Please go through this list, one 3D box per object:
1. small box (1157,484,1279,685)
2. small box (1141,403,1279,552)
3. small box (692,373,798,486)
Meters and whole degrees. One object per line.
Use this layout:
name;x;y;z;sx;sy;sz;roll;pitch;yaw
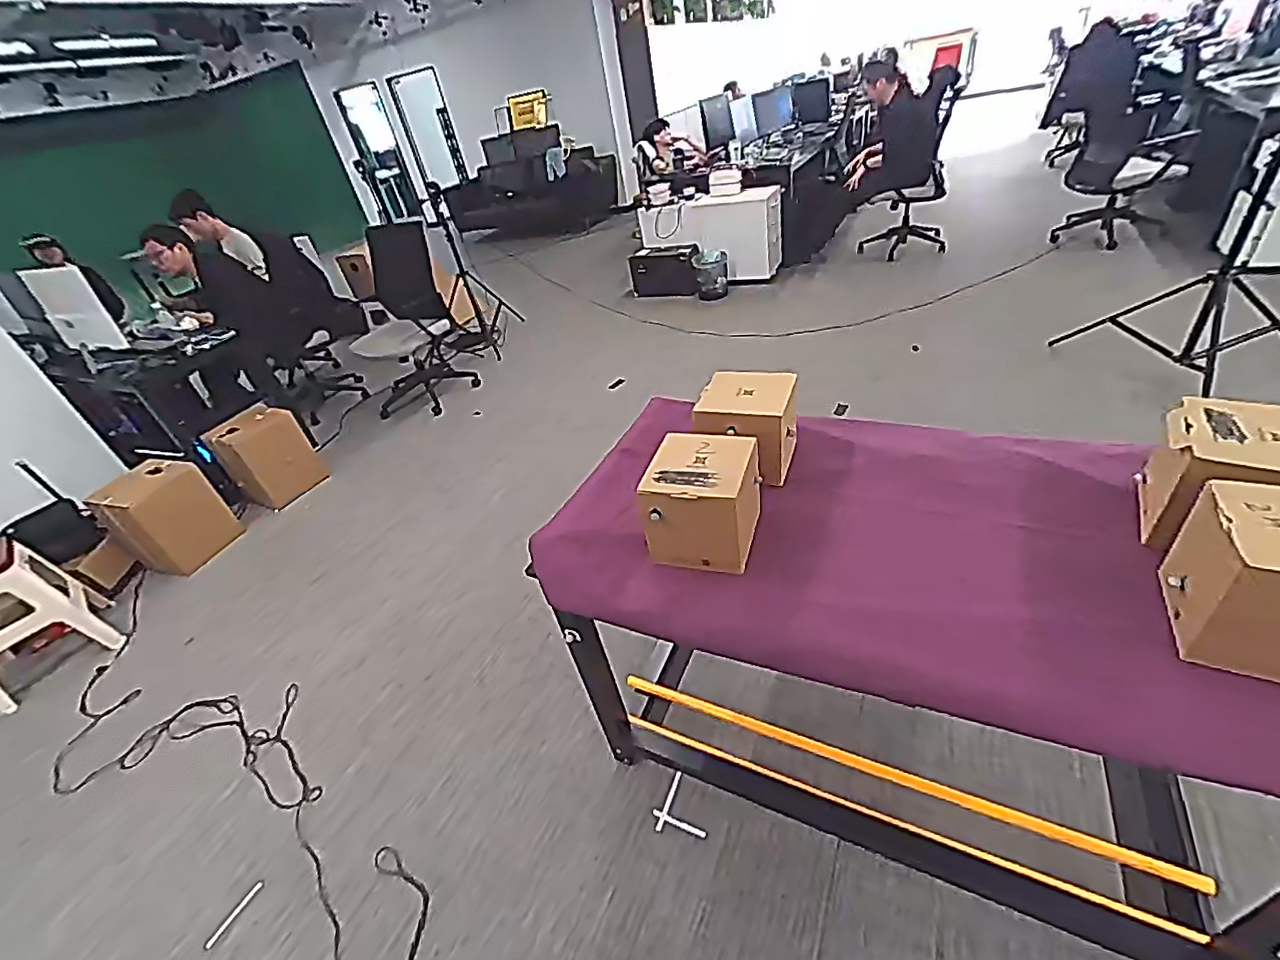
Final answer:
small box;0.769;0.130;0.641;0.179;0.176;0.168;10;40;28
small box;0.857;0.011;0.776;0.179;0.176;0.168;15;45;30
small box;0.223;-0.105;1.115;0.179;0.176;0.168;7;40;24
